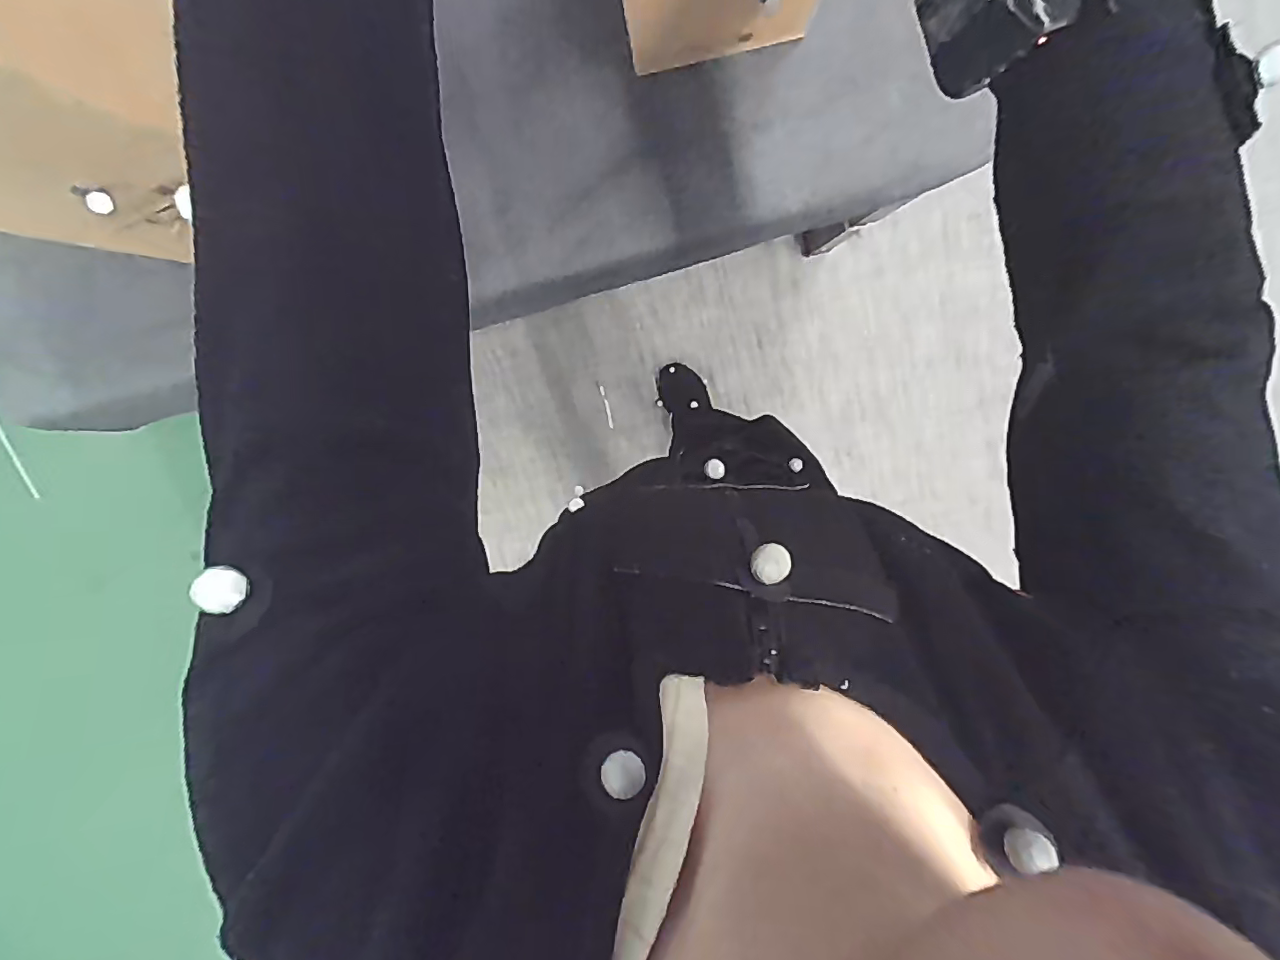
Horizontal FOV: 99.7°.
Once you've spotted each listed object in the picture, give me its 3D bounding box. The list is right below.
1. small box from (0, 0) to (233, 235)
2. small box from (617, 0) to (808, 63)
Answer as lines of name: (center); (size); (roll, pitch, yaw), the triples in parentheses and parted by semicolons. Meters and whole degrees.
small box: (-0.418, -0.280, 0.335); (0.168, 0.176, 0.179); (-18, 103, 9)
small box: (0.052, -0.468, 0.424); (0.168, 0.176, 0.179); (-9, 103, 5)
